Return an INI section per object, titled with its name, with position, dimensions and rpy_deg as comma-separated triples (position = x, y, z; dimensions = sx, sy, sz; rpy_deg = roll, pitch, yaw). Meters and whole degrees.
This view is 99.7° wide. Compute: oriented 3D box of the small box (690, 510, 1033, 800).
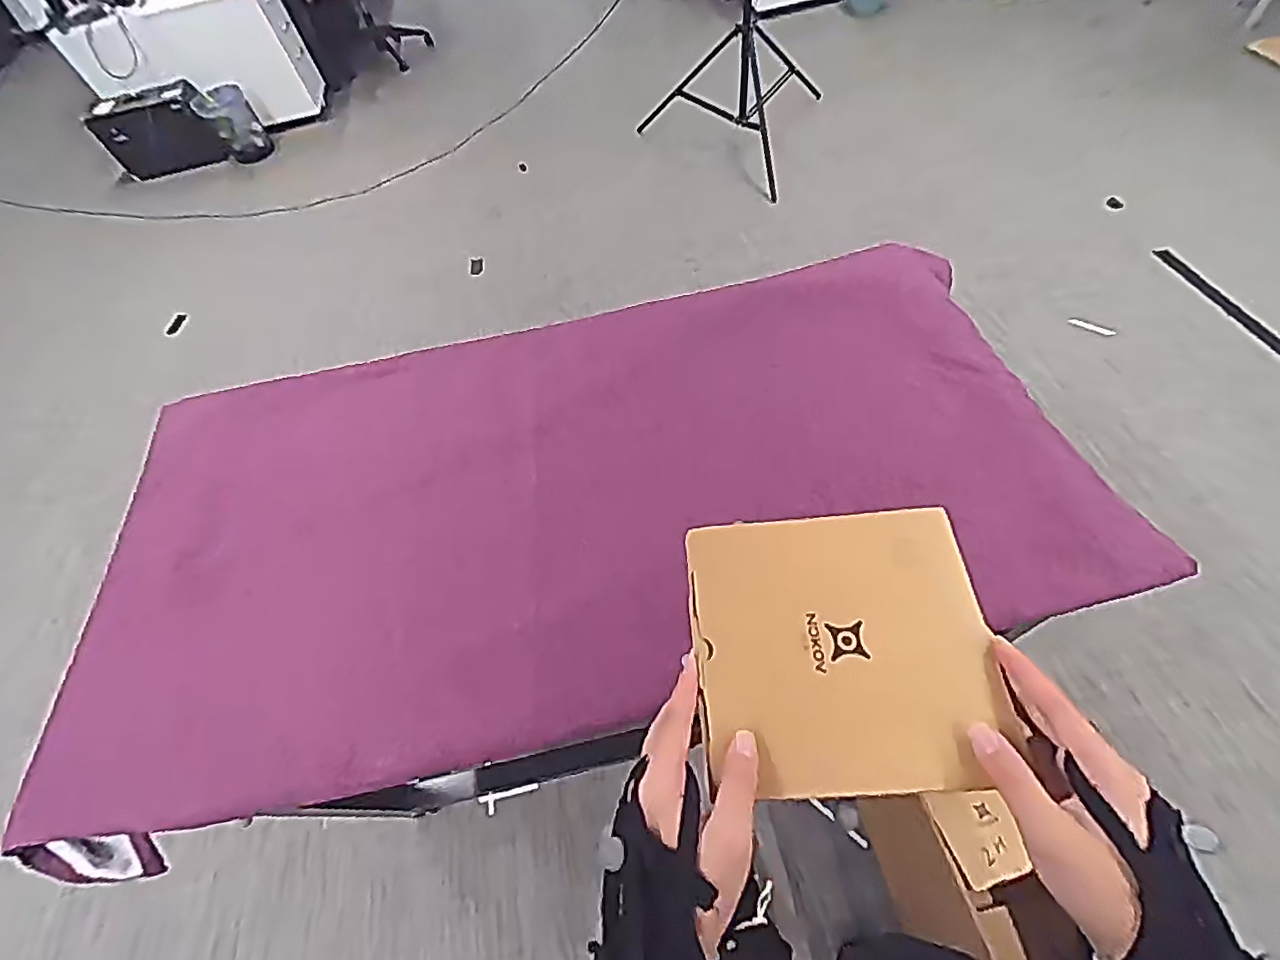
[small box]
position = 0.131, 0.135, 0.402
dimensions = 0.179, 0.176, 0.168
rpy_deg = -6, 61, 5
